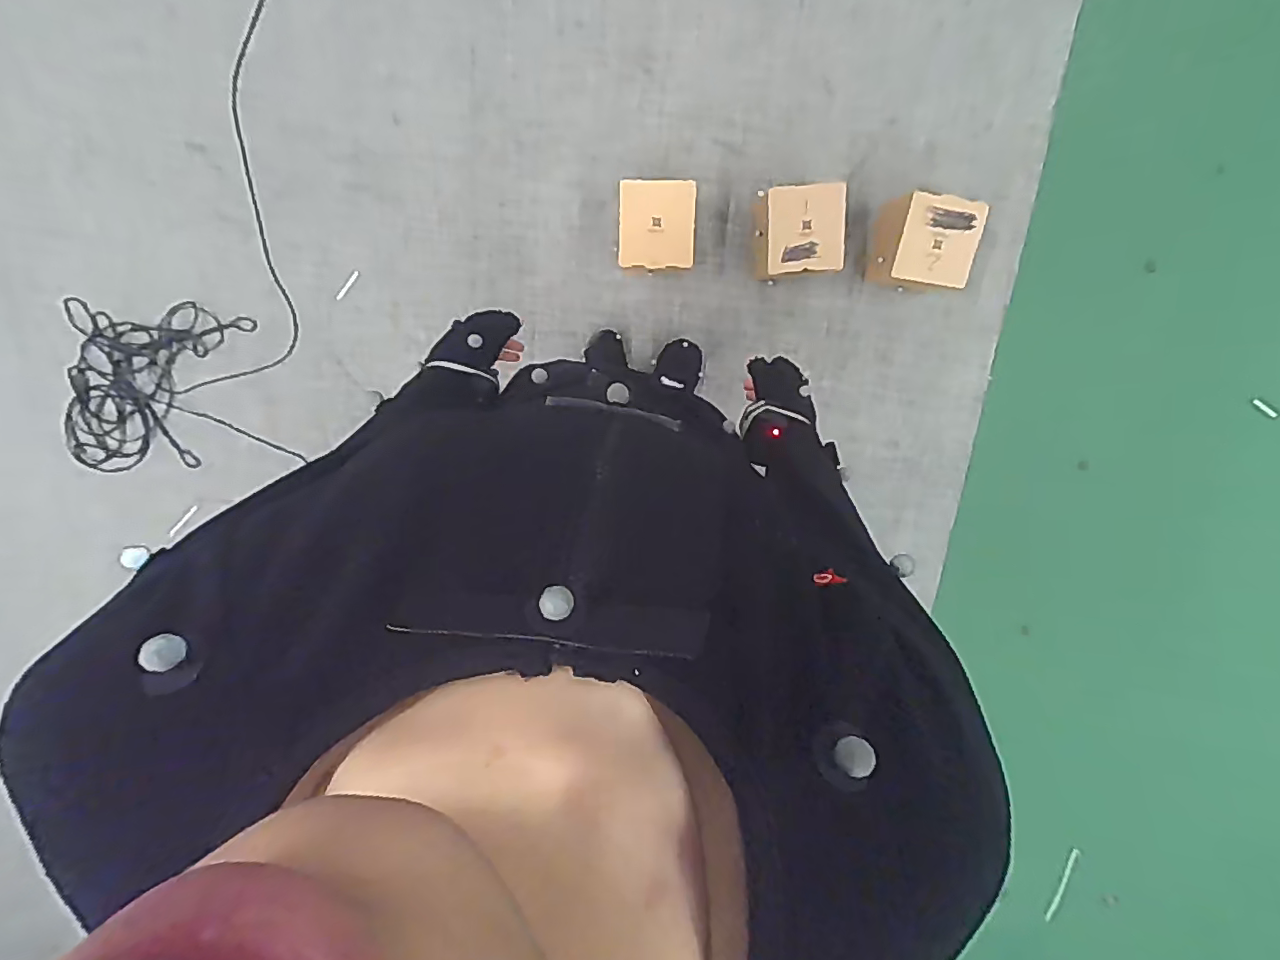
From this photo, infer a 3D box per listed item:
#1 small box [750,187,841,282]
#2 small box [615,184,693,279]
[{"bbox_3d":[0.349,-0.551,1.238,0.168,0.176,0.179,-3,105,3],"label":"small box"},{"bbox_3d":[0.031,-0.567,1.248,0.168,0.176,0.179,2,106,3],"label":"small box"}]
